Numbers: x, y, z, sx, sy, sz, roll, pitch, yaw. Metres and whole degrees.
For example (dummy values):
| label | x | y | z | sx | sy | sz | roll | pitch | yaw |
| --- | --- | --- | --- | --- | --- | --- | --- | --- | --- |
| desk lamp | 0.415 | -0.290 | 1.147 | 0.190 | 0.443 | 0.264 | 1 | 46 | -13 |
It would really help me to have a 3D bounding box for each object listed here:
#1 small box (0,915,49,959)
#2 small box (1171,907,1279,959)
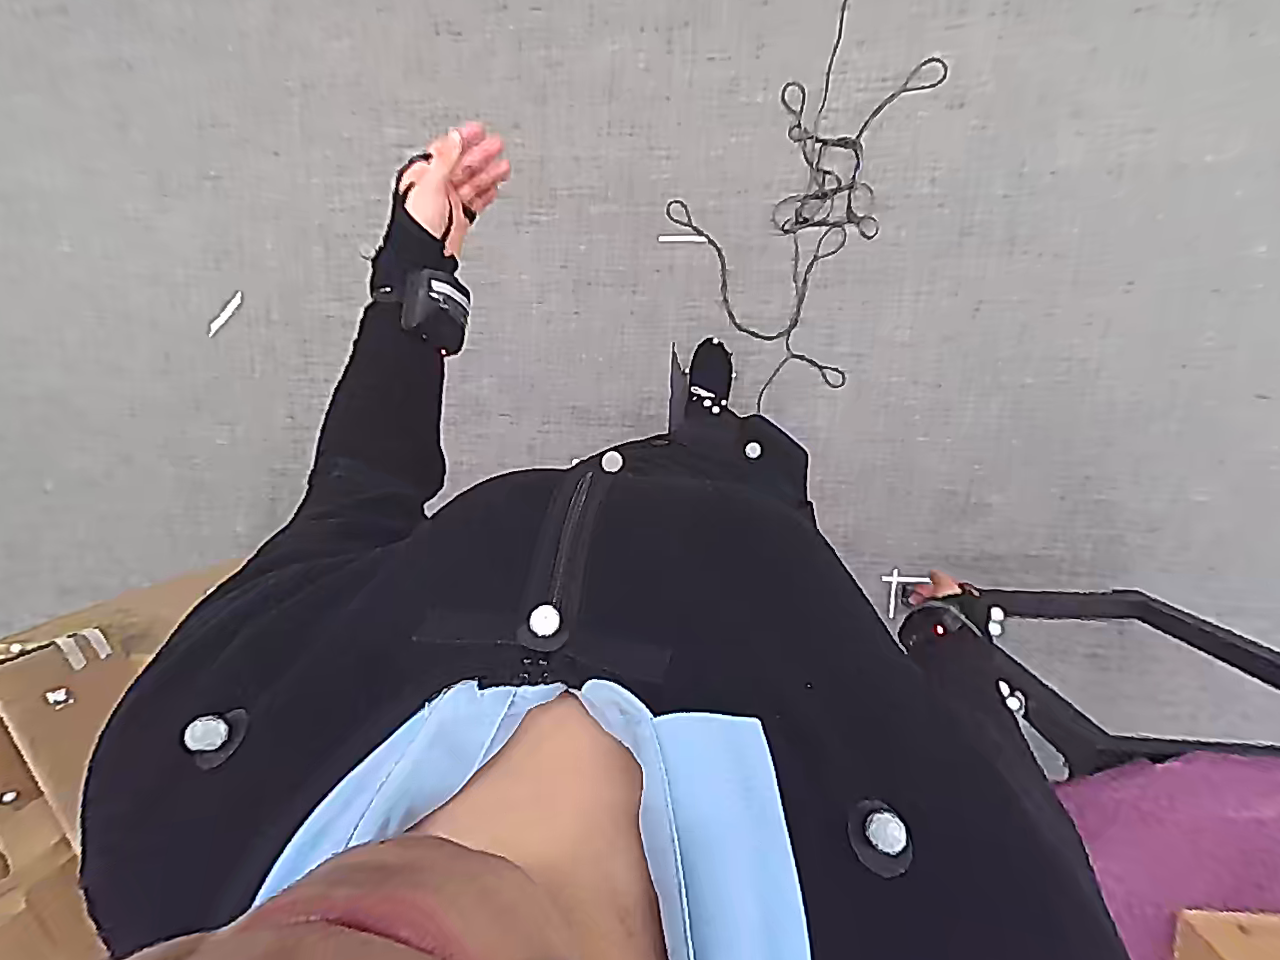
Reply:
| label | x | y | z | sx | sy | sz | roll | pitch | yaw |
| --- | --- | --- | --- | --- | --- | --- | --- | --- | --- |
| small box | -1.015 | 0.775 | 0.781 | 0.168 | 0.176 | 0.179 | -15 | 97 | 7 |
| small box | 0.819 | 0.684 | 0.678 | 0.168 | 0.176 | 0.179 | -1 | 98 | 6 |
